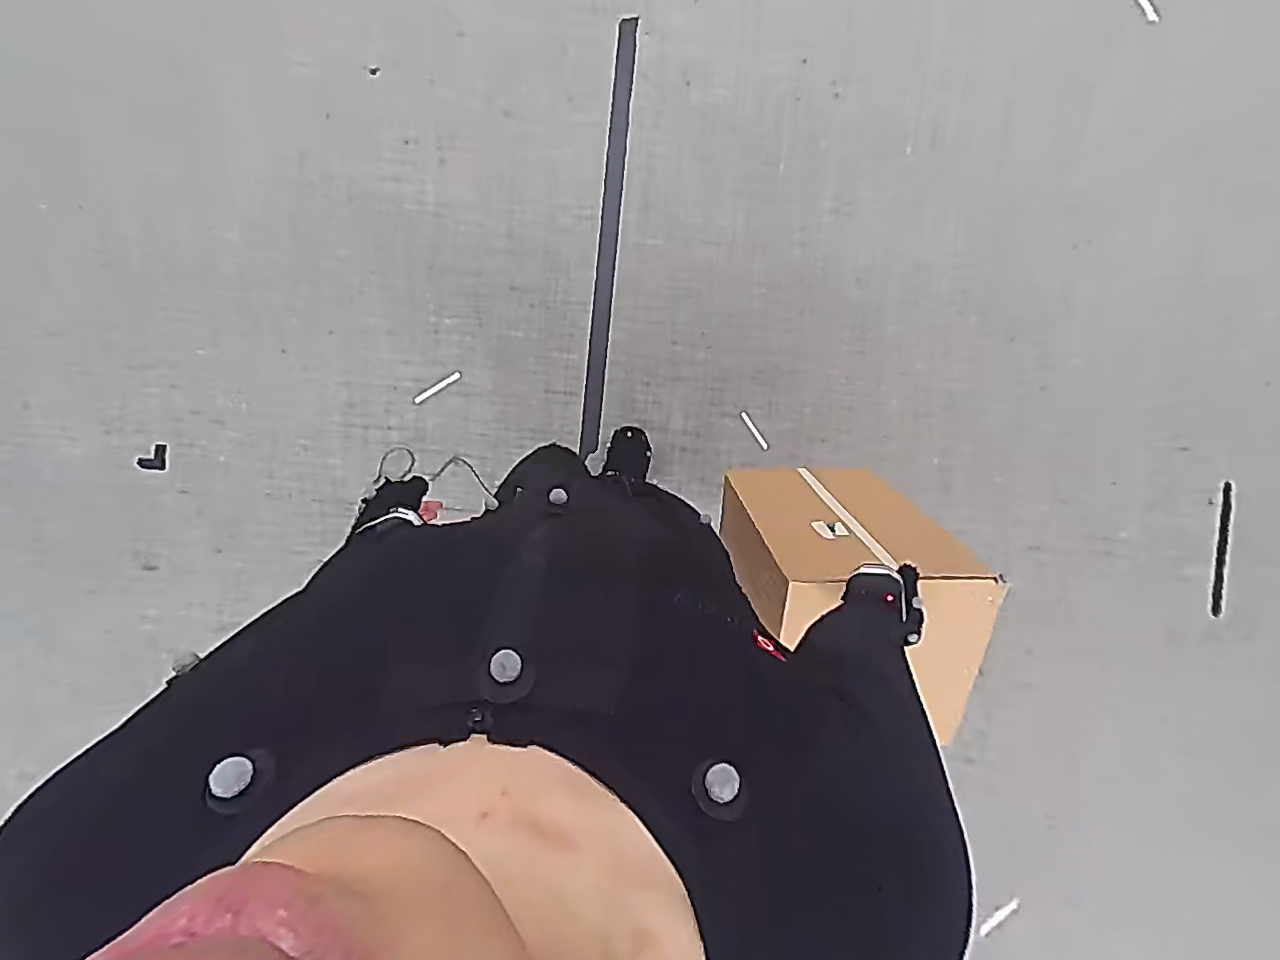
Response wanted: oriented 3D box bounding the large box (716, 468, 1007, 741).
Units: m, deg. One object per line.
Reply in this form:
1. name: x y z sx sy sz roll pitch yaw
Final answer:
1. large box: 0.342 0.196 0.983 0.320 0.408 0.320 -1 114 -4
